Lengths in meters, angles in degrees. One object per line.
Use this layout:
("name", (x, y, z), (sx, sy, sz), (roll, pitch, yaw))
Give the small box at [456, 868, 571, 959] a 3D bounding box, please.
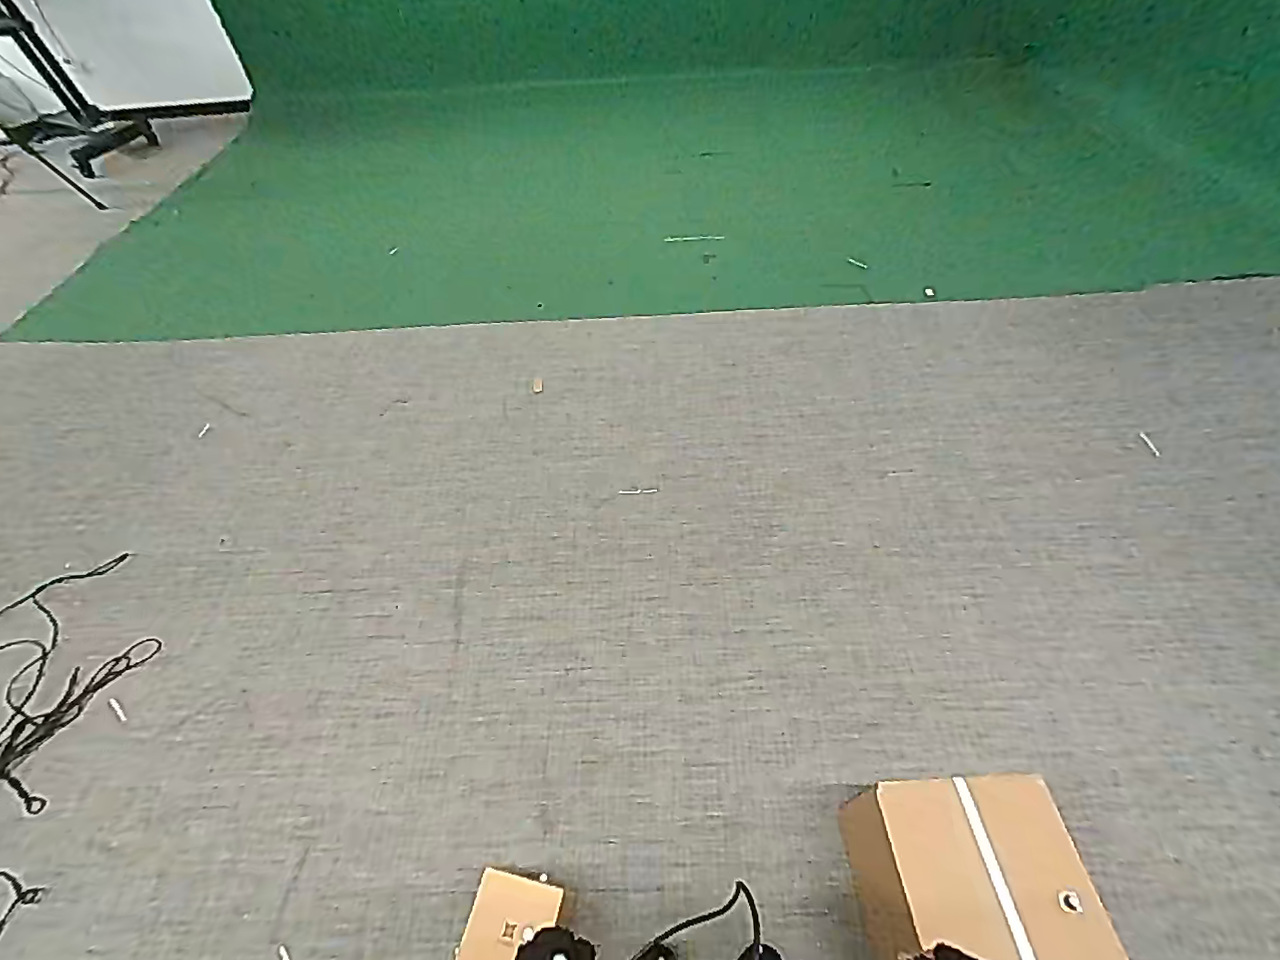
("small box", (-0.242, 0.899, 1.070), (0.168, 0.176, 0.179), (8, 53, 10))
